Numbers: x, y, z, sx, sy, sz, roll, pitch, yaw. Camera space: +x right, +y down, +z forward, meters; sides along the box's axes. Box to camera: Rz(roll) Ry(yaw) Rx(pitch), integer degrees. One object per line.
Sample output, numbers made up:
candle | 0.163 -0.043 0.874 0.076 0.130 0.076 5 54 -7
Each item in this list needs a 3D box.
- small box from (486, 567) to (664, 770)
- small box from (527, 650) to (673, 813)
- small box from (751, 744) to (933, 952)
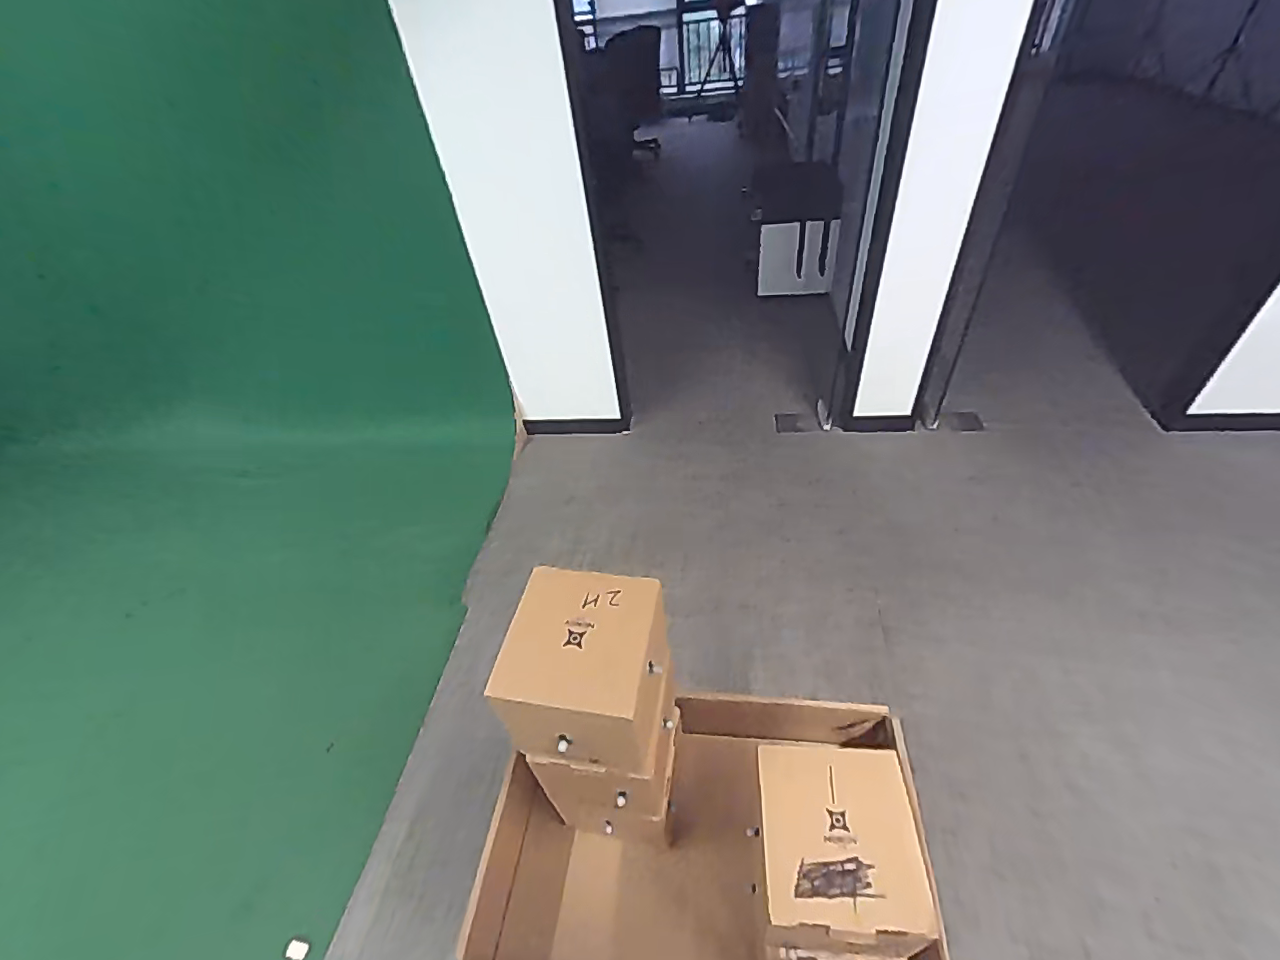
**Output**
small box | -0.064 0.236 0.676 0.168 0.176 0.179 6 45 11
small box | -0.044 0.358 0.785 0.168 0.176 0.179 4 44 10
small box | 0.224 0.444 0.653 0.168 0.176 0.179 -1 44 7
